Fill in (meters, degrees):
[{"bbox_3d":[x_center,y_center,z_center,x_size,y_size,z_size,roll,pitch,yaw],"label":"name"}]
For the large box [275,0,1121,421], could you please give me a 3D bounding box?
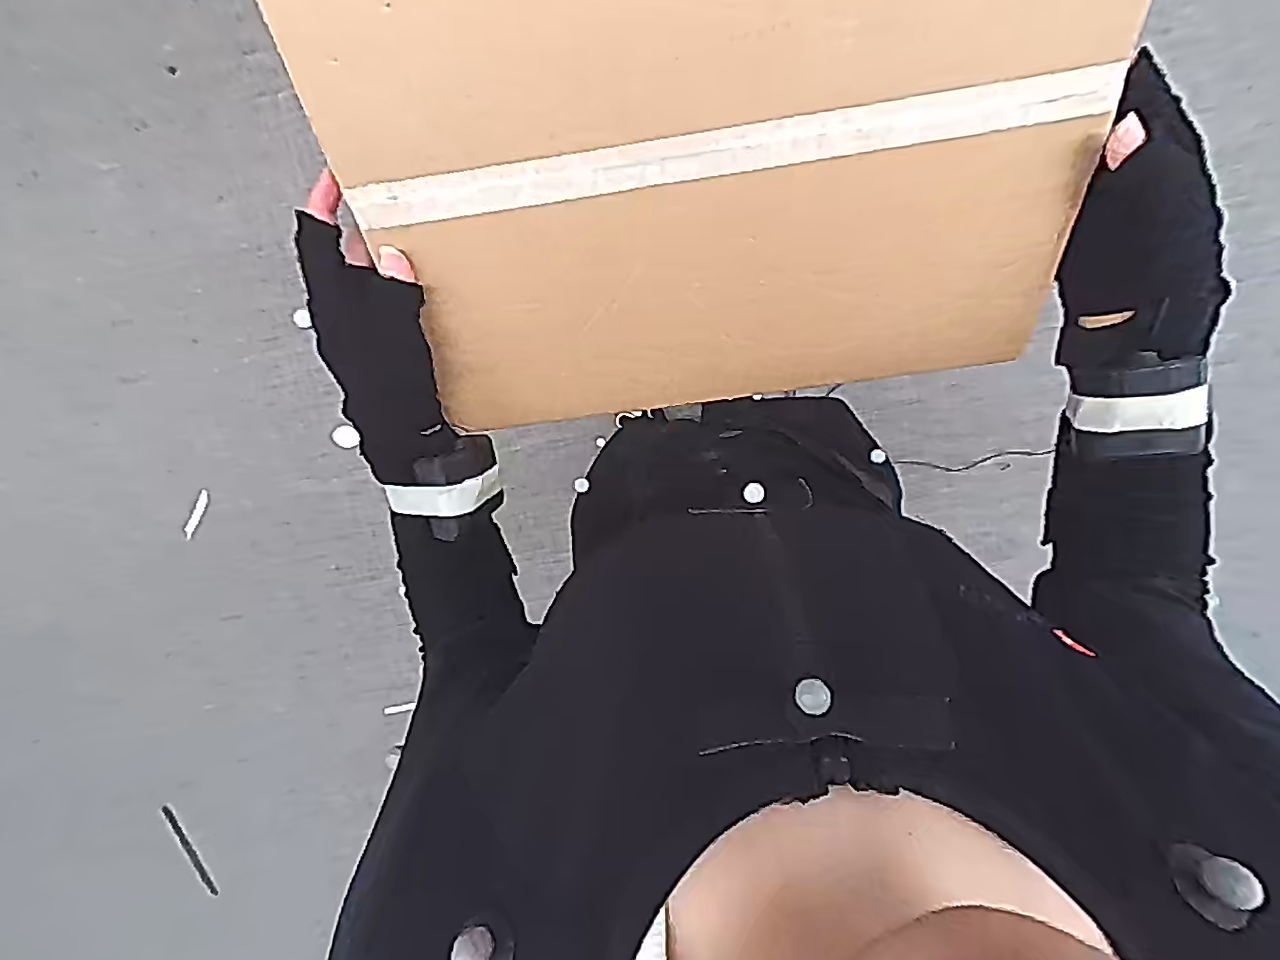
[{"bbox_3d":[0.034,-0.282,0.405,0.408,0.320,0.320,-8,130,3],"label":"large box"}]
